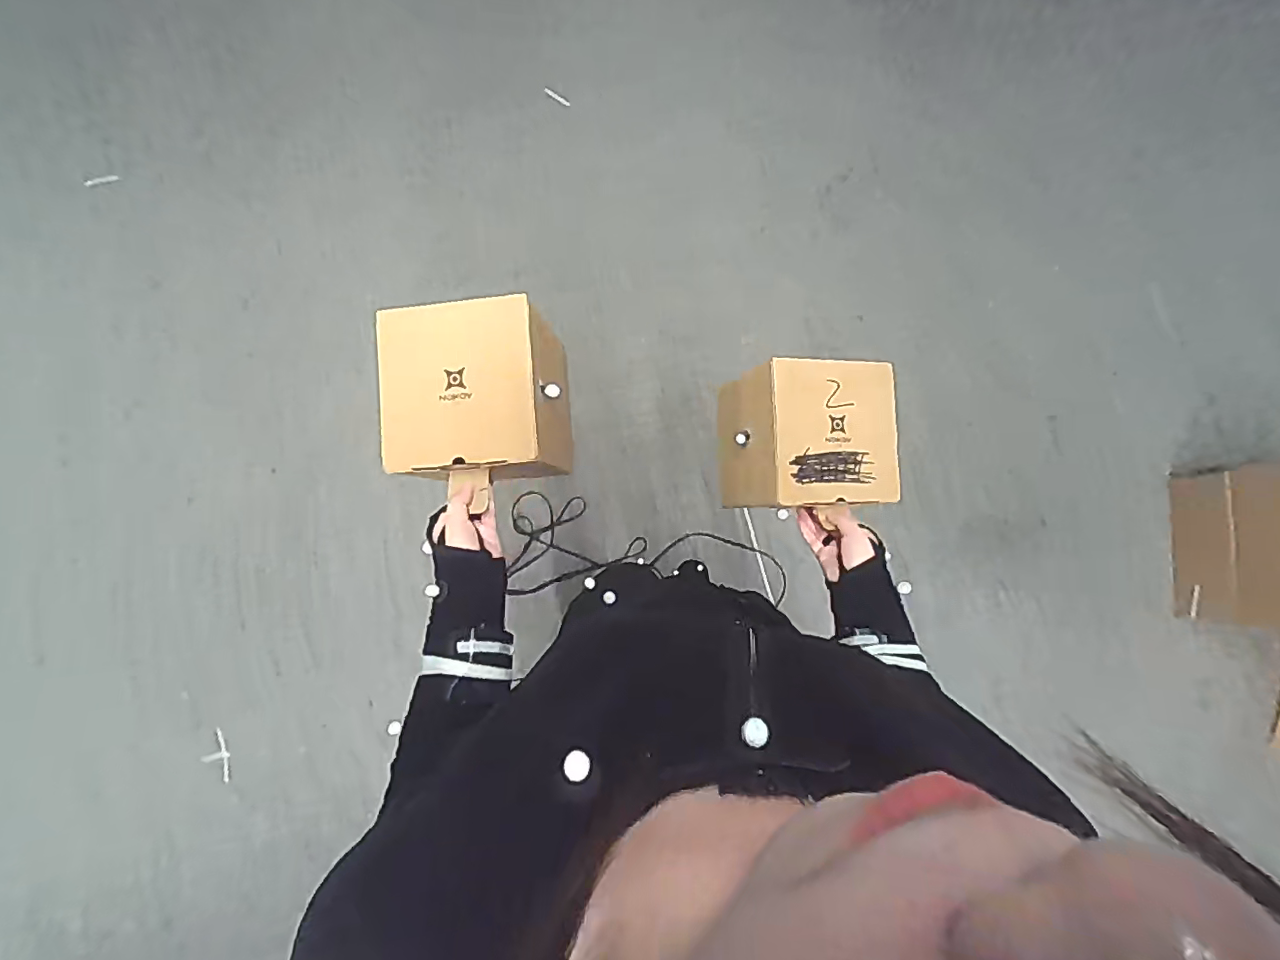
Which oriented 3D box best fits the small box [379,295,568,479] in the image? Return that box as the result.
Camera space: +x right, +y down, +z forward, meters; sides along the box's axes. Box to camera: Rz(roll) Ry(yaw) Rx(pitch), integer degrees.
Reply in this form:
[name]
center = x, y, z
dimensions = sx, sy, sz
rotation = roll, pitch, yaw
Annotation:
[small box]
center = -0.186, -0.097, 0.643
dimensions = 0.168, 0.176, 0.179
rotation = -4, 87, 6
